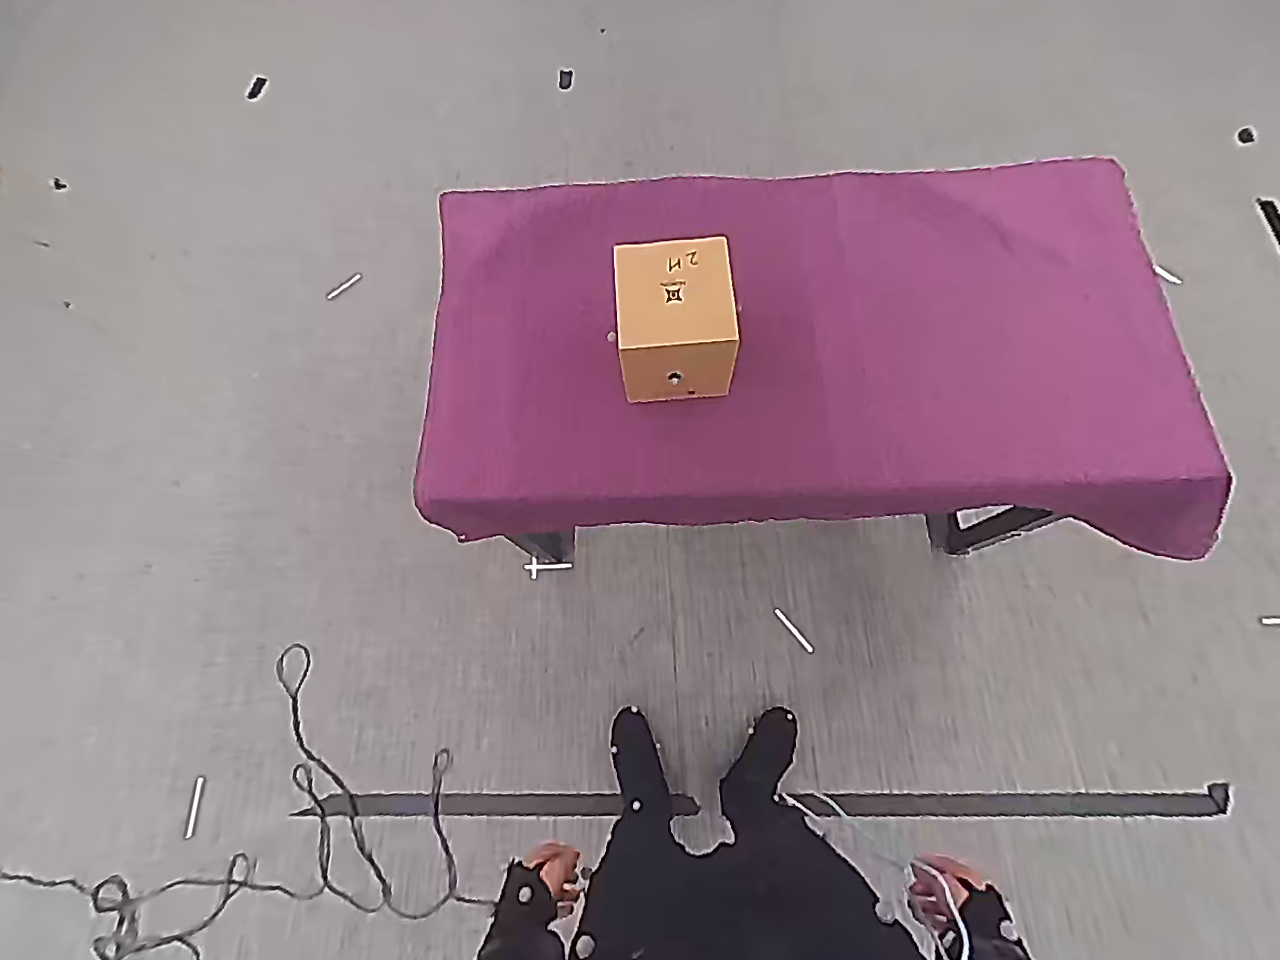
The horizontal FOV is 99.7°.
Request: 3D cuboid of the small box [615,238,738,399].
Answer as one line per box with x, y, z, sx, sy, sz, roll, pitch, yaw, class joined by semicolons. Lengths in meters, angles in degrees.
0.054;-0.234;0.825;0.168;0.176;0.179;-4;72;2;small box
